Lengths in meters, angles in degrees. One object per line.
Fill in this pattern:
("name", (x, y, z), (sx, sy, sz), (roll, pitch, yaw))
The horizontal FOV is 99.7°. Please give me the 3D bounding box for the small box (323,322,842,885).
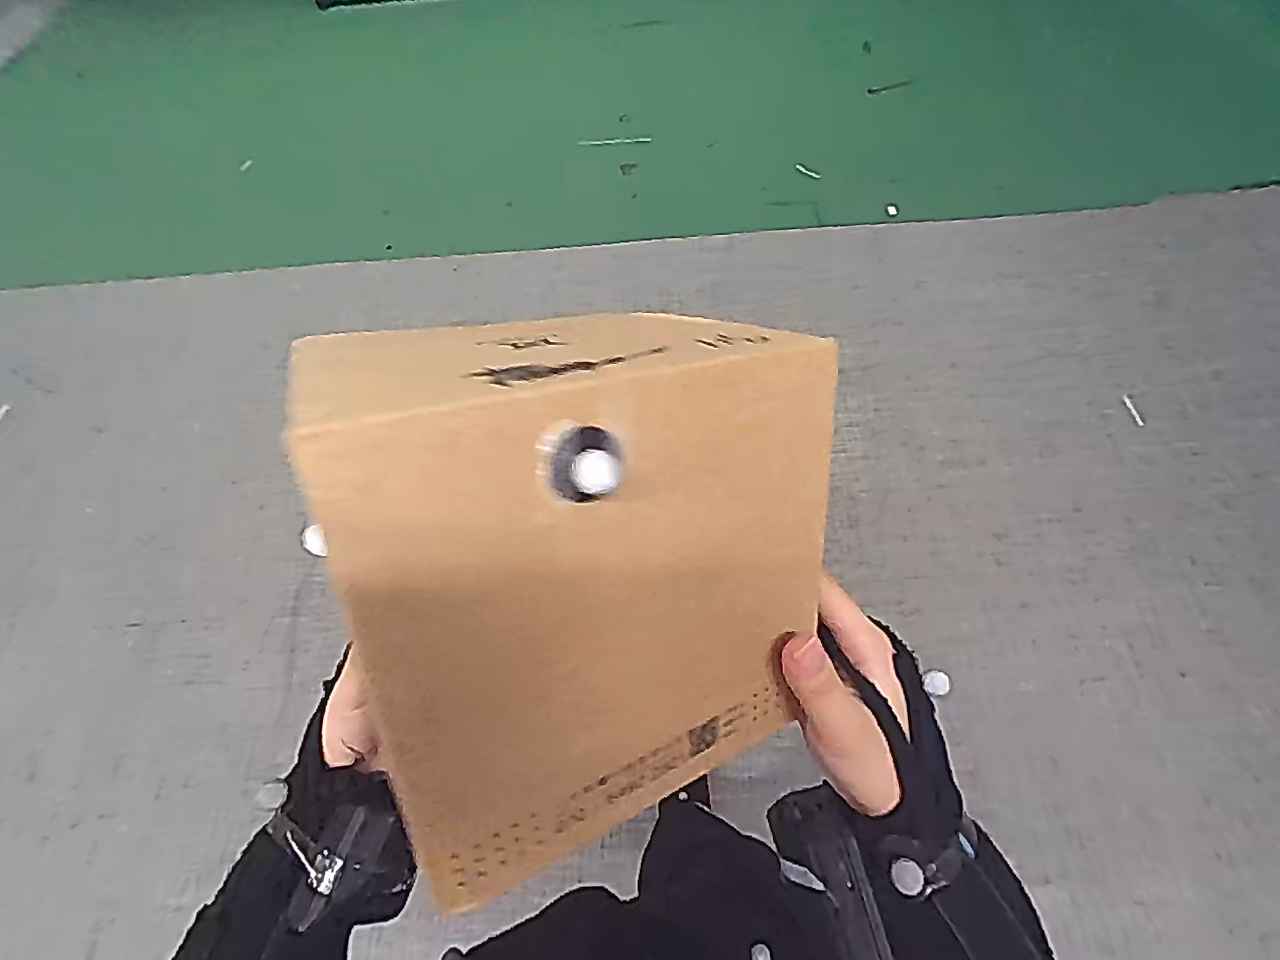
("small box", (-0.034, 0.025, 0.254), (0.168, 0.176, 0.179), (-17, 25, -25))
